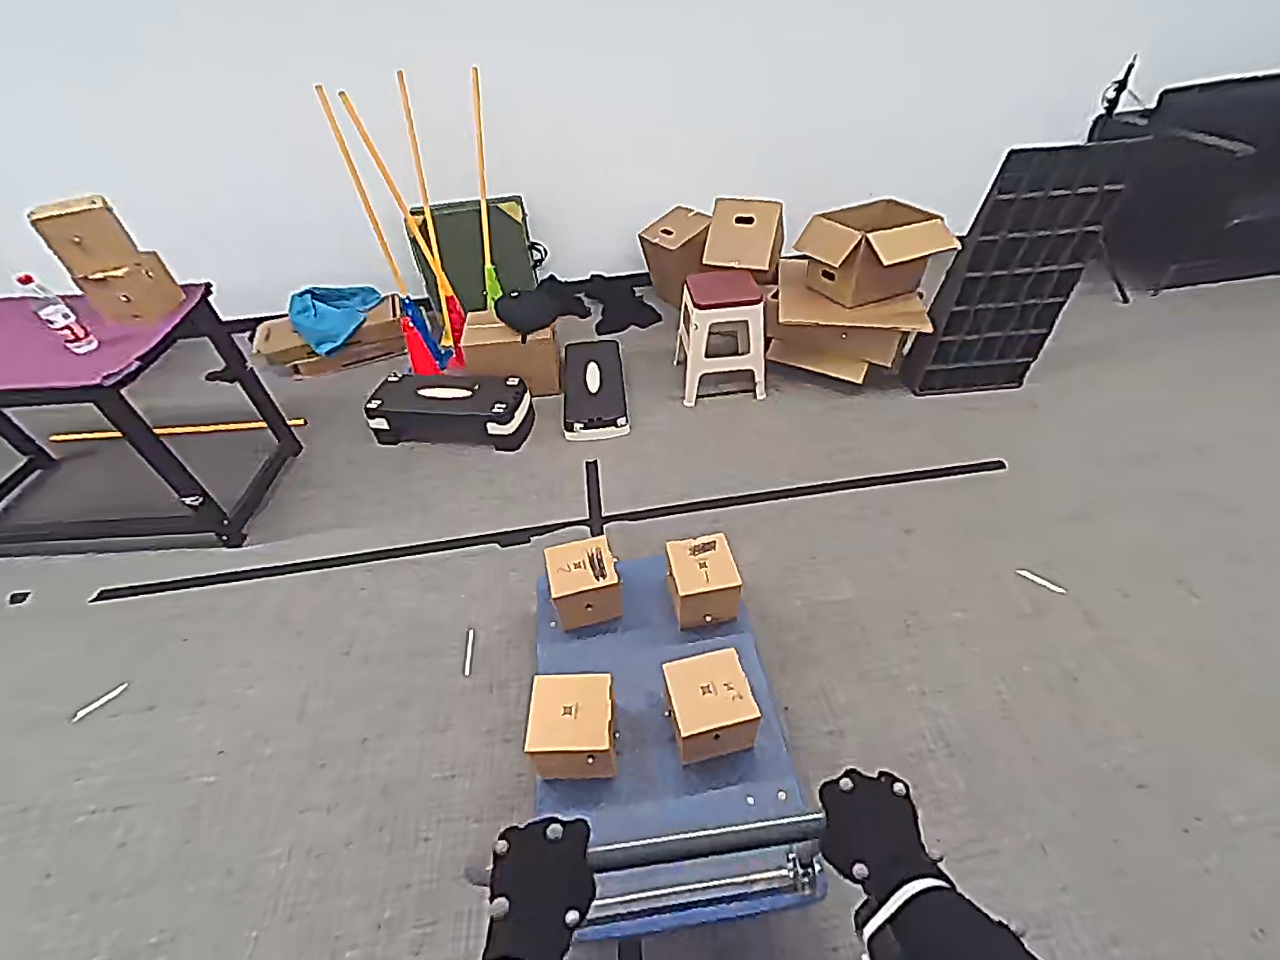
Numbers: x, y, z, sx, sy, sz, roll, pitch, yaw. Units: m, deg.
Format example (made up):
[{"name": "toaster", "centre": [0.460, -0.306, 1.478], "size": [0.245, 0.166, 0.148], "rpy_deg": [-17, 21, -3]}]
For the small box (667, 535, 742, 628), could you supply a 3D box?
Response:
[{"name": "small box", "centre": [0.169, 0.278, 1.480], "size": [0.168, 0.176, 0.179], "rpy_deg": [-9, 46, -5]}]

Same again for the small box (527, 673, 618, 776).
[{"name": "small box", "centre": [-0.145, 0.555, 1.222], "size": [0.179, 0.176, 0.168], "rpy_deg": [-2, 44, 1]}]

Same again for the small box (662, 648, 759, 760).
[{"name": "small box", "centre": [0.156, 0.516, 1.237], "size": [0.179, 0.176, 0.168], "rpy_deg": [-11, 45, -7]}]
